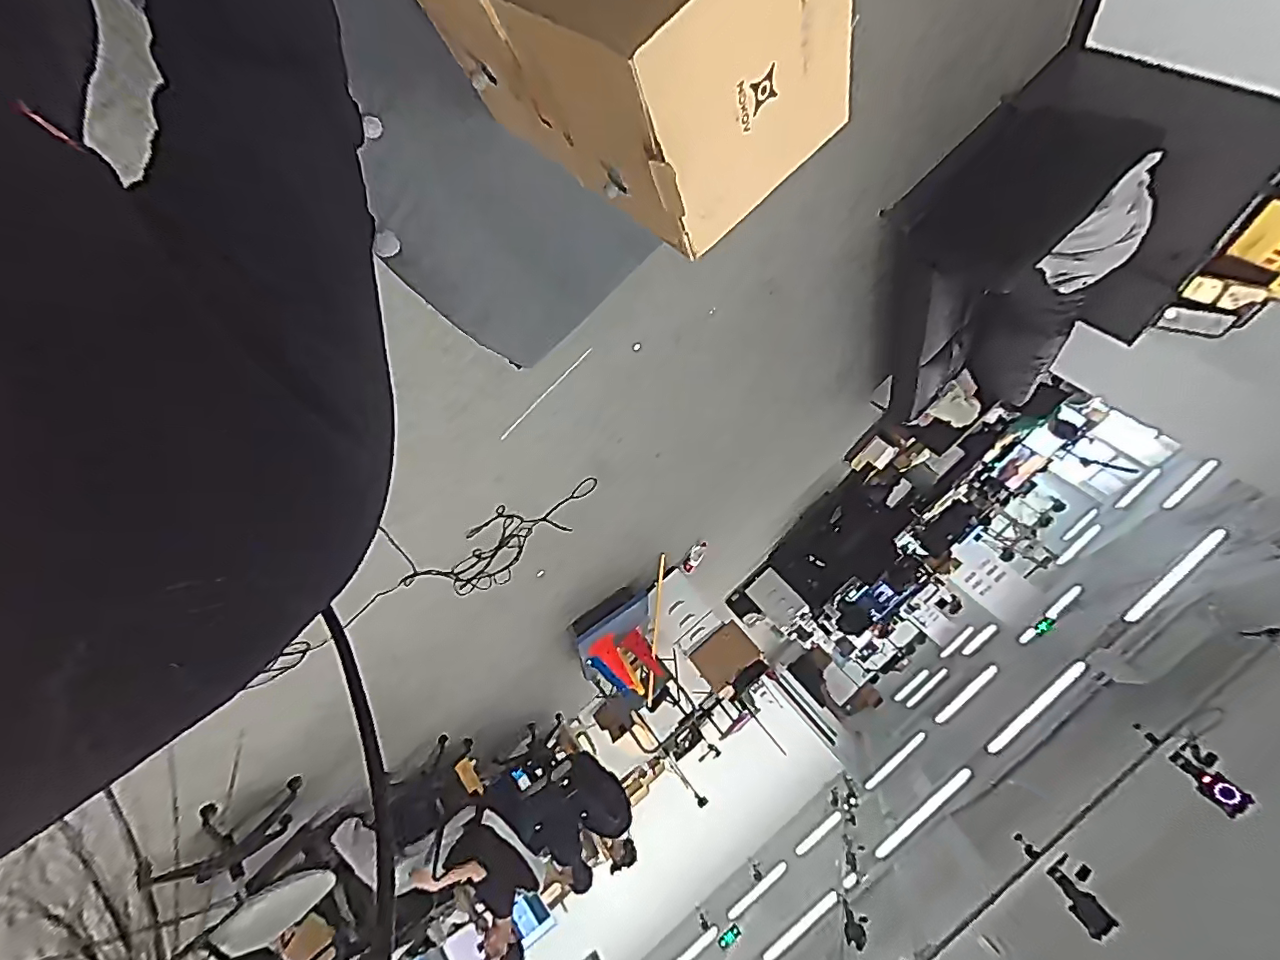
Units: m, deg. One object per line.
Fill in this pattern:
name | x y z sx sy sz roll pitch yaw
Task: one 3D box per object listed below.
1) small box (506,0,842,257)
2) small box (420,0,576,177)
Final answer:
small box | 0.025 -0.316 0.405 0.179 0.176 0.168 -45 153 -1
small box | -0.077 -0.421 0.477 0.179 0.176 0.168 -45 152 2
